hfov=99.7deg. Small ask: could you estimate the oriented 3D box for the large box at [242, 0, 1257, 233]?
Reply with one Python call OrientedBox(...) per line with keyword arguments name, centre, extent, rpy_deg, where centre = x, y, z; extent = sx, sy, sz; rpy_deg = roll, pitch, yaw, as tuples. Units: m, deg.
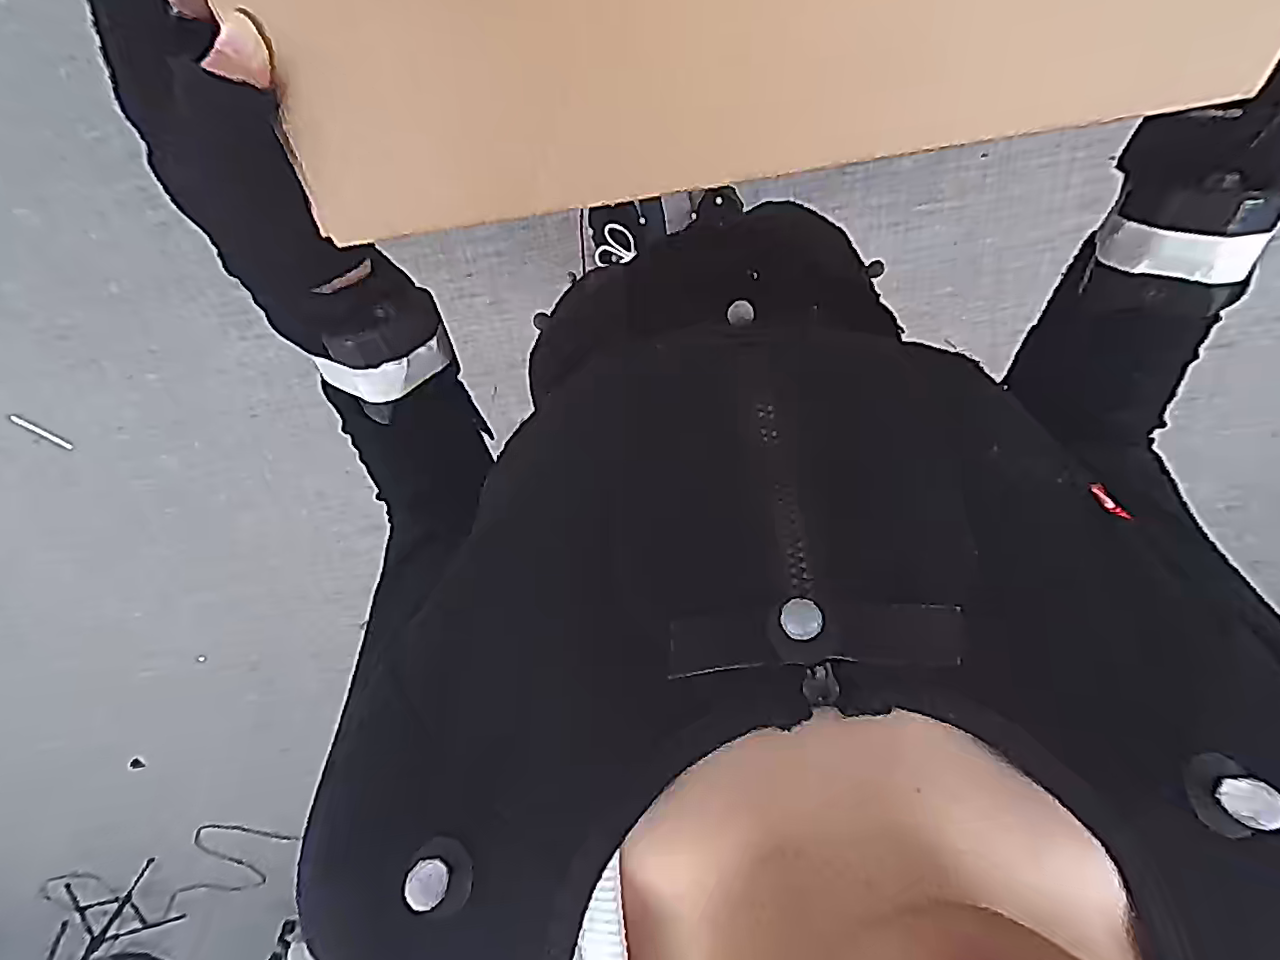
OrientedBox(name="large box", centre=(0.027, -0.355, 0.262), extent=(0.408, 0.320, 0.320), rpy_deg=(-8, 131, 3))
